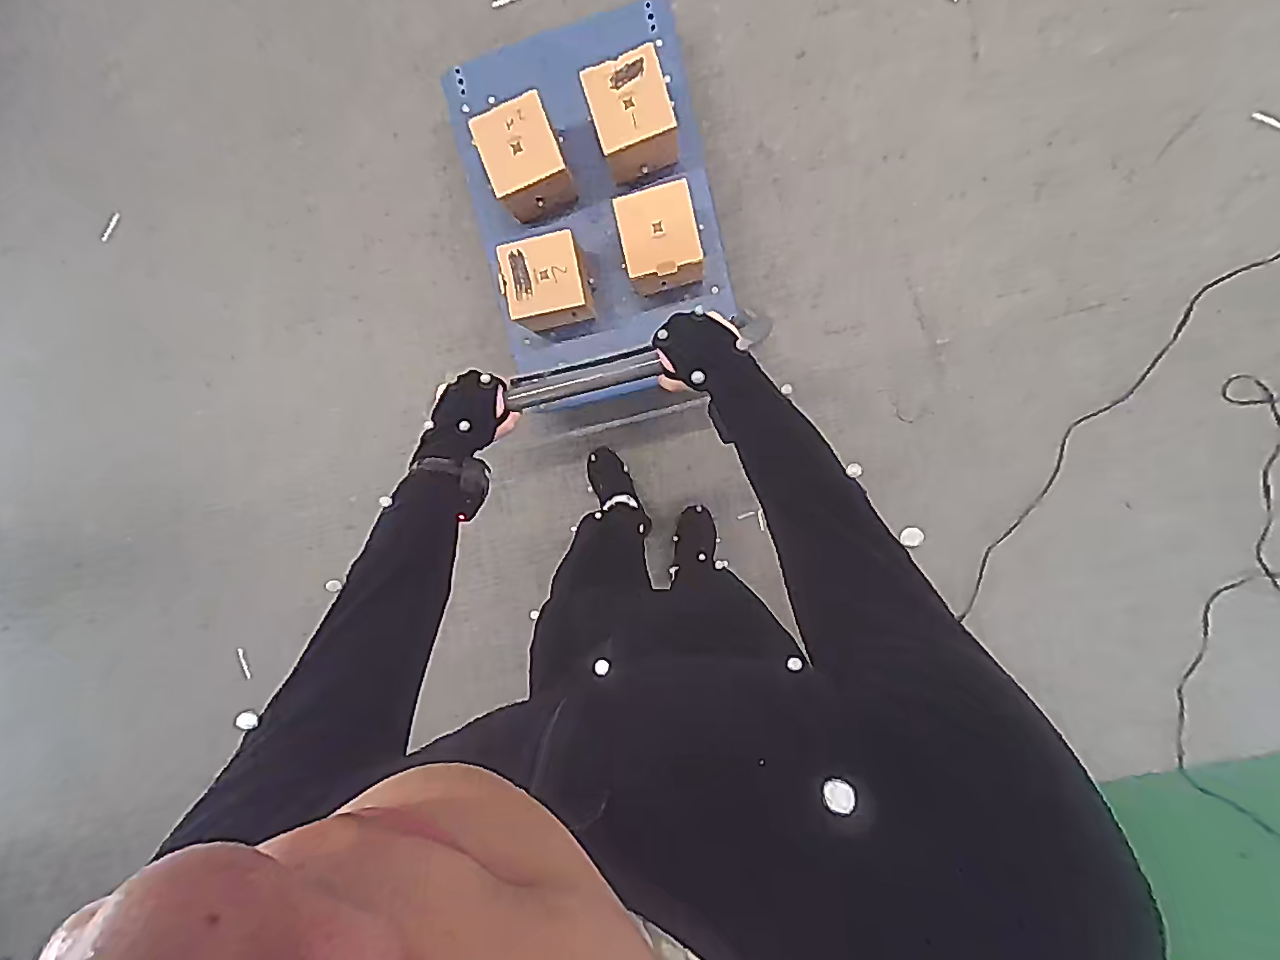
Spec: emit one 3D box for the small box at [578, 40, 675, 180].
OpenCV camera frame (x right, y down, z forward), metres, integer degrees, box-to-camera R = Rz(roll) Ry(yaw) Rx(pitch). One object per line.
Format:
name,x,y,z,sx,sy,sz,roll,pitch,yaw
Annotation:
small box,-0.023,-0.813,1.208,0.168,0.176,0.179,-17,96,8

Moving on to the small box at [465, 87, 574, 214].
small box,-0.265,-0.737,1.239,0.168,0.176,0.179,-20,95,7

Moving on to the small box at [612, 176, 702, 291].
small box,0.041,-0.554,1.238,0.168,0.176,0.179,-13,97,7
